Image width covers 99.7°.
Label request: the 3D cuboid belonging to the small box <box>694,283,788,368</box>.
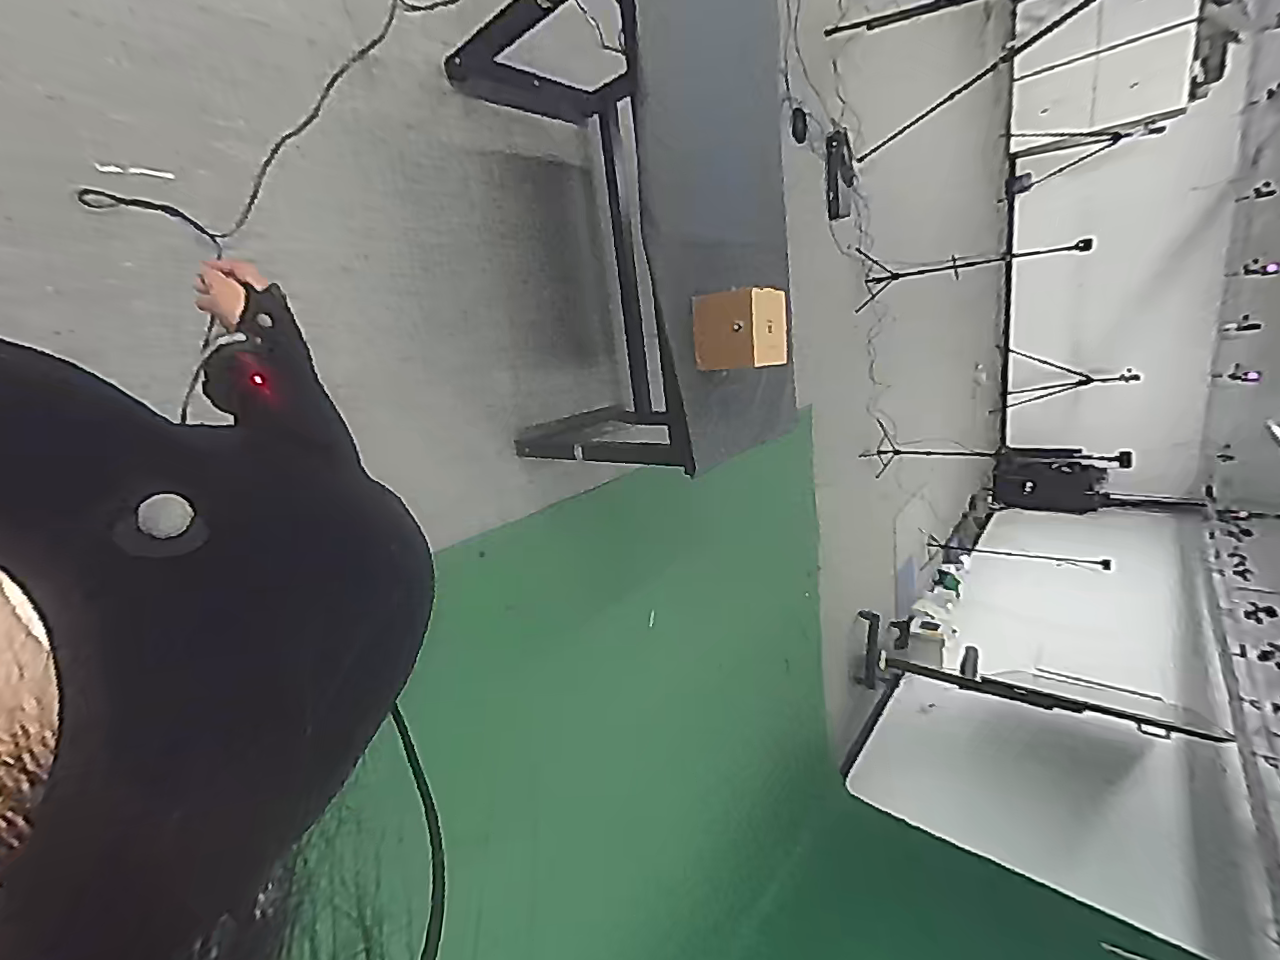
[{"bbox_3d":[0.243,-0.370,1.314,0.168,0.176,0.179,-18,108,-47],"label":"small box"}]
